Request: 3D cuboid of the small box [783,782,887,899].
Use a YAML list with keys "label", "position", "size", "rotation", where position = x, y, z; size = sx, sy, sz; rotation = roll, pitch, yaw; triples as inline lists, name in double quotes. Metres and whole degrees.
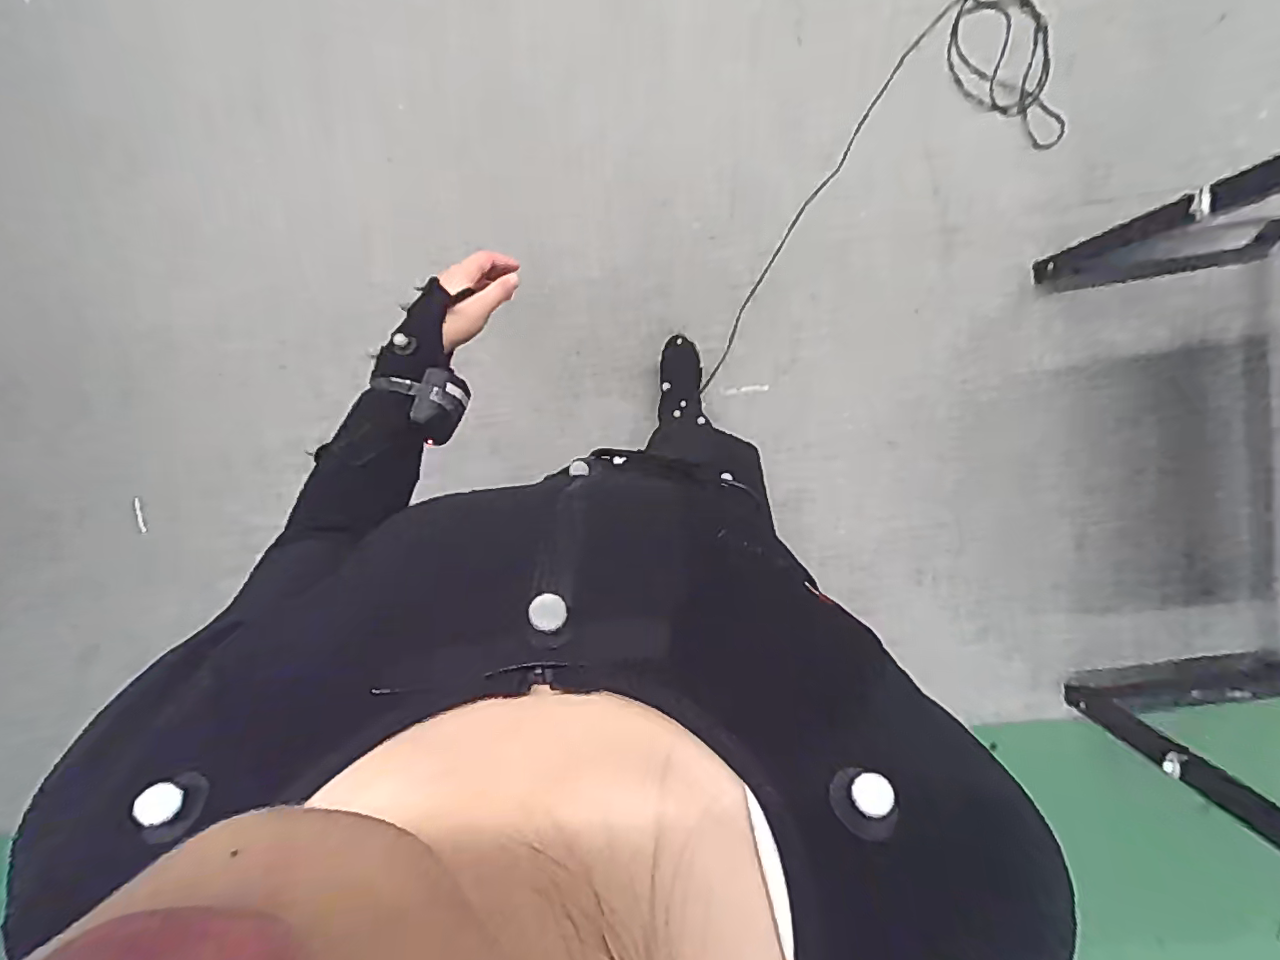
- label: "small box"
  position: [0.512, 0.955, 1.453]
  size: [0.179, 0.176, 0.168]
  rotation: [38, 96, -2]
